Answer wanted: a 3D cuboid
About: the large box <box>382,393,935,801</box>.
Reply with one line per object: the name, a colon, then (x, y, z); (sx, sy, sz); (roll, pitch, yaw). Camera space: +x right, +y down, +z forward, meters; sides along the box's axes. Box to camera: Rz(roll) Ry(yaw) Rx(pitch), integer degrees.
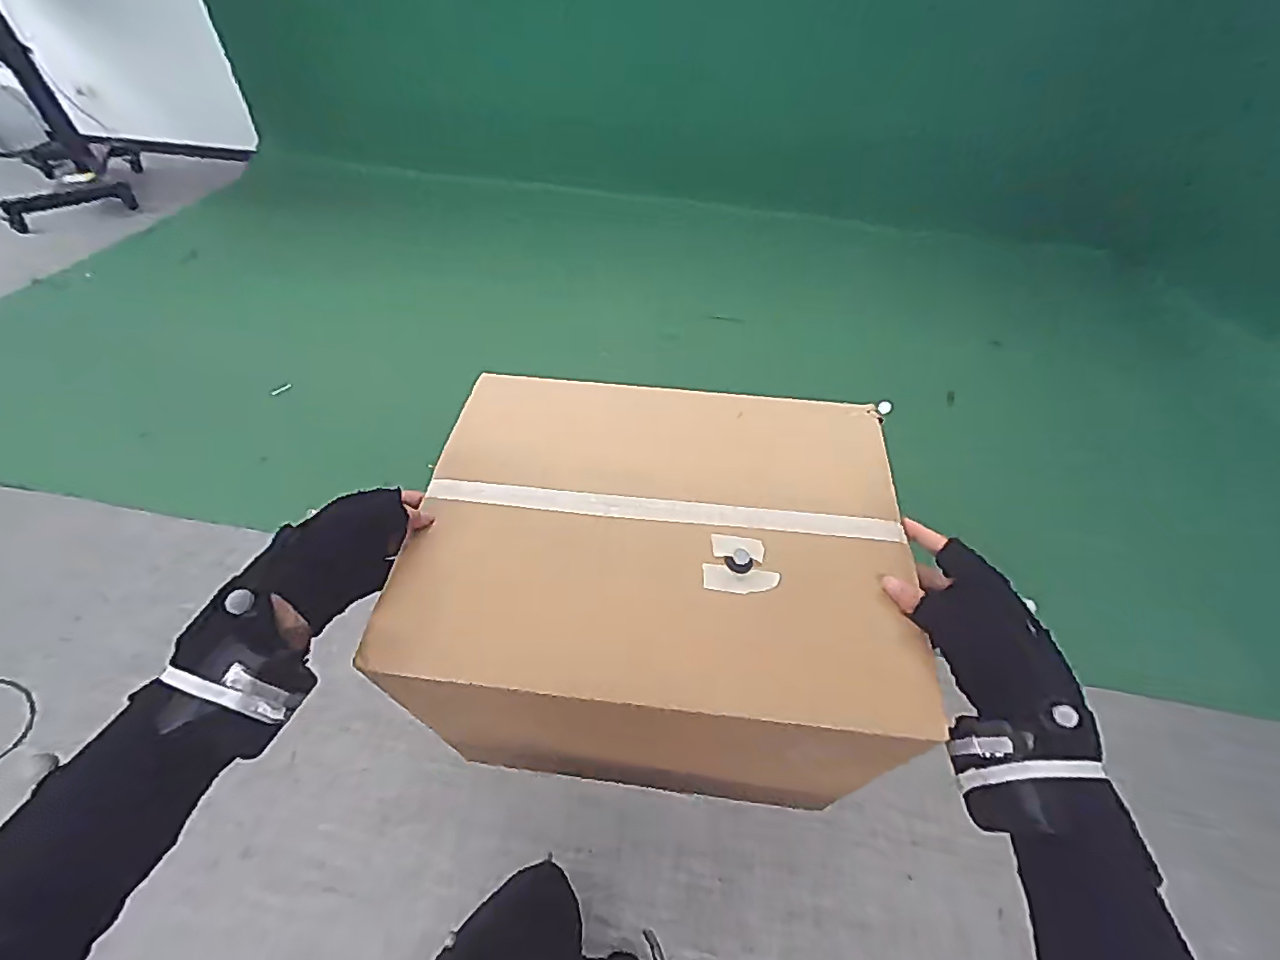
large box: (0.020, 0.131, 0.589); (0.408, 0.320, 0.320); (5, 52, 4)
